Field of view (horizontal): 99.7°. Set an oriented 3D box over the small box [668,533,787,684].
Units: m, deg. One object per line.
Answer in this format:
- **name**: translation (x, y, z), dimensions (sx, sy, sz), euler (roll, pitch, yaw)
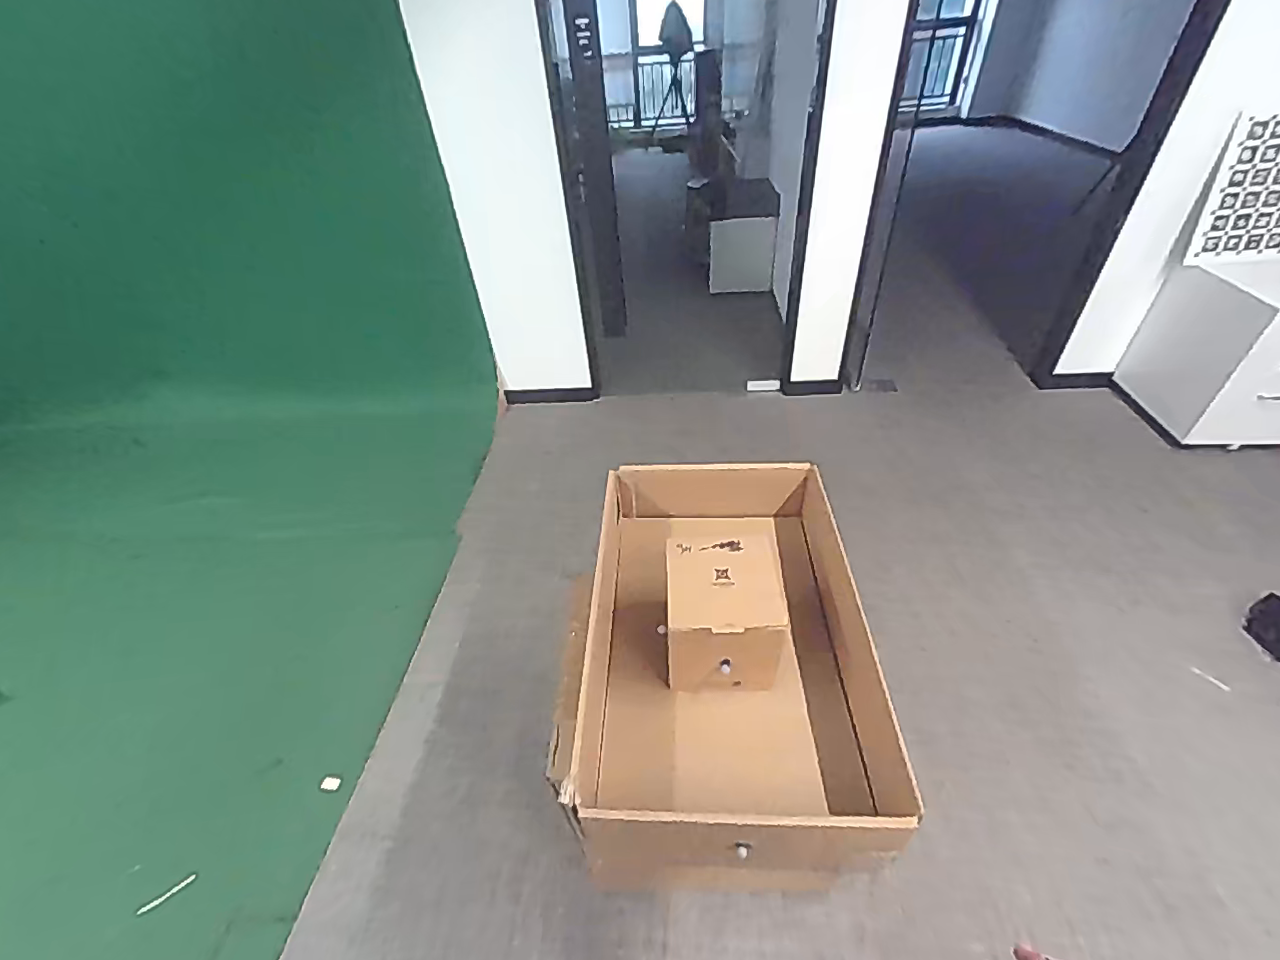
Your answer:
- **small box**: translation (0.130, 0.205, 0.855), dimensions (0.168, 0.176, 0.179), euler (-1, 41, 4)
